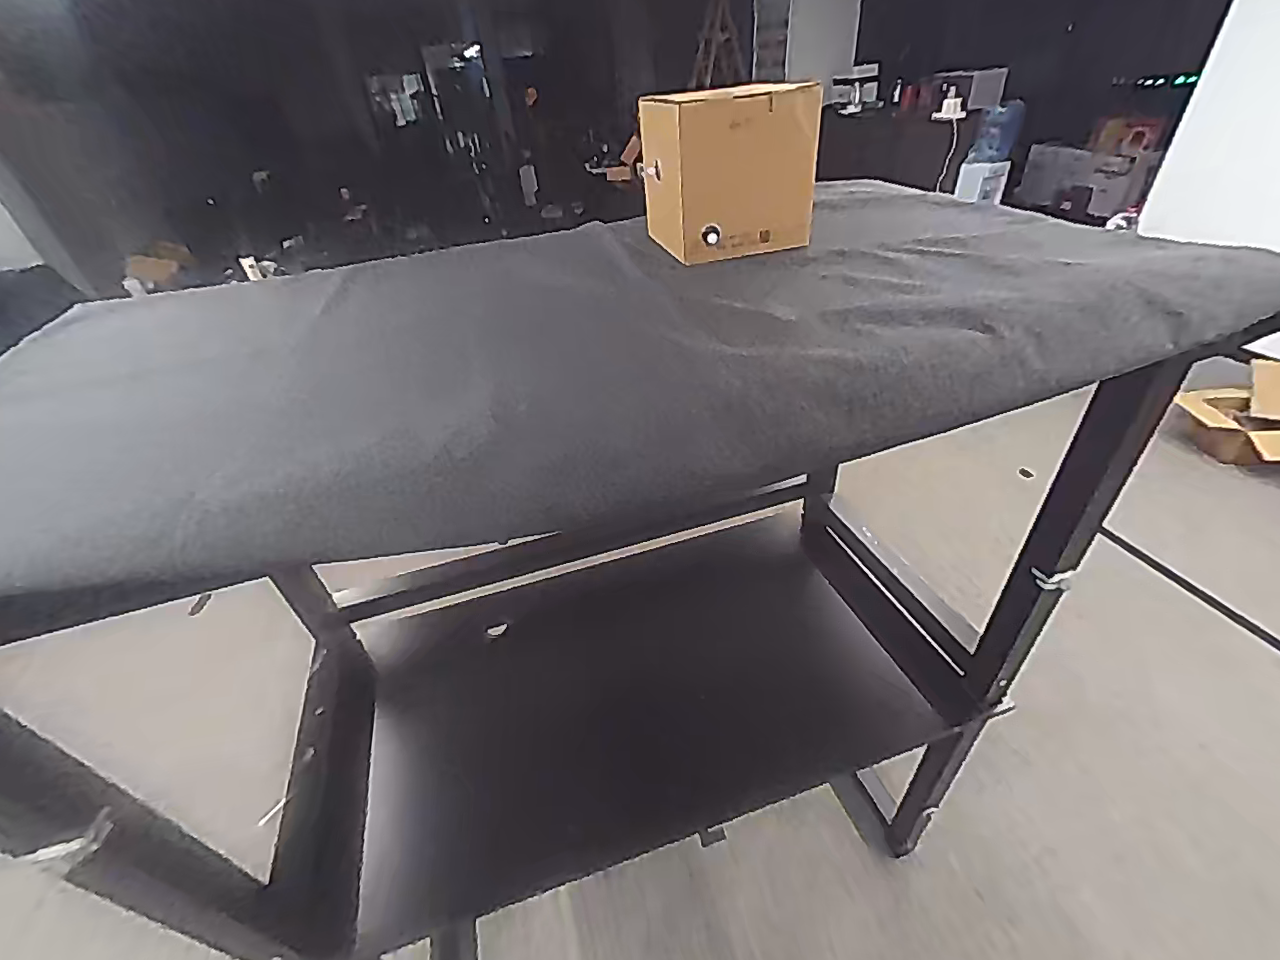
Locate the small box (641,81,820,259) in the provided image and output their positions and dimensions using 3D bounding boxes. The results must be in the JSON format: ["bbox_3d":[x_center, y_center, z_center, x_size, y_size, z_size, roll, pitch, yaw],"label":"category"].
[{"bbox_3d":[0.107,-0.390,0.685,0.168,0.176,0.179,-13,37,-8],"label":"small box"}]
